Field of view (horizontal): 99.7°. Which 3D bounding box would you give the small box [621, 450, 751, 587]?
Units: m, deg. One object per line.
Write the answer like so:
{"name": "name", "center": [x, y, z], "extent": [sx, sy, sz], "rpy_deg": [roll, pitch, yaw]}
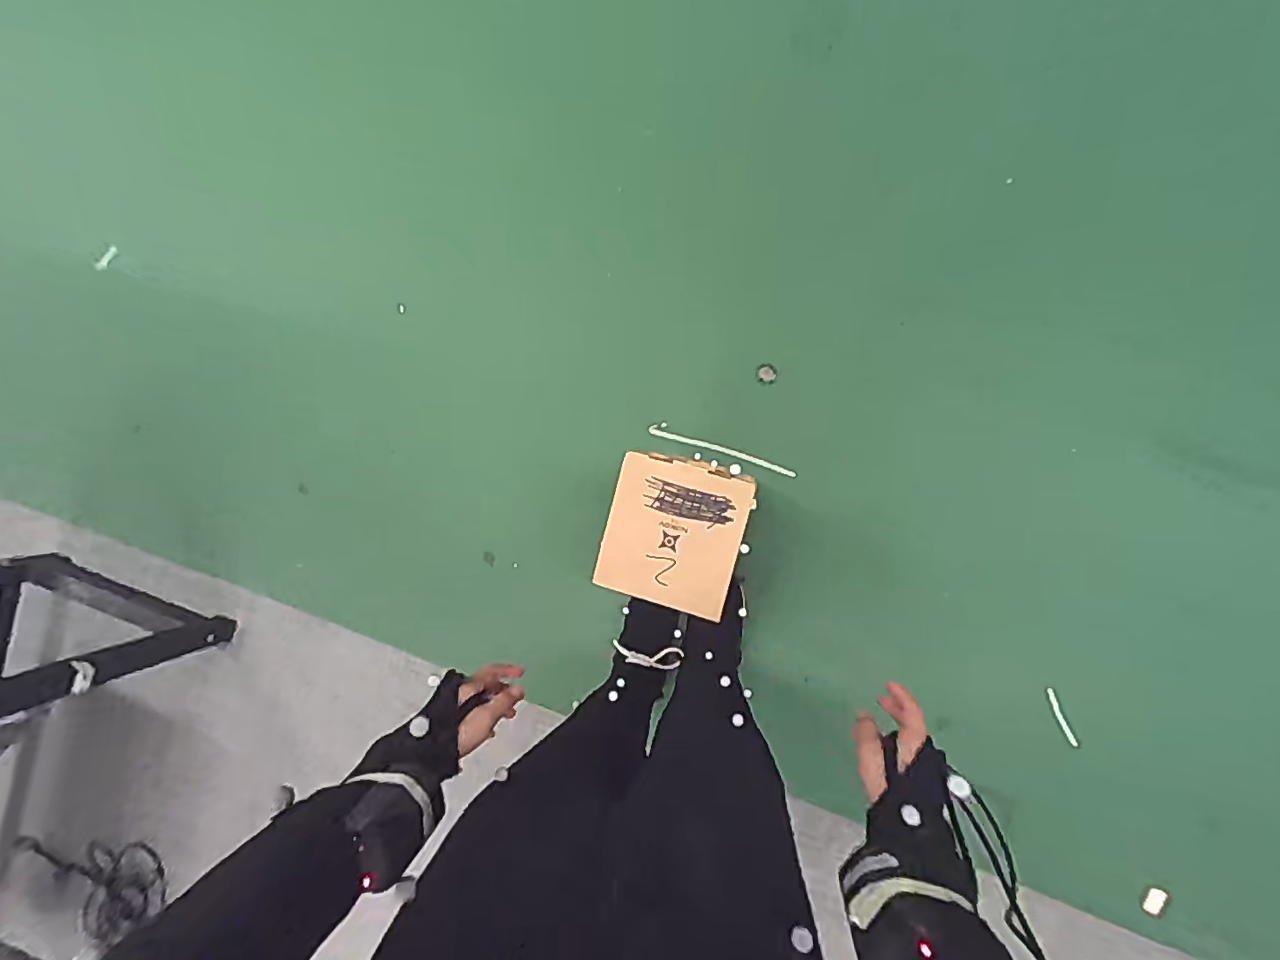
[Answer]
{"name": "small box", "center": [0.083, 0.057, 0.901], "extent": [0.168, 0.176, 0.179], "rpy_deg": [15, 93, 9]}

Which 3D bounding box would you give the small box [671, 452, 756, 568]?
{"name": "small box", "center": [0.120, 0.052, 1.059], "extent": [0.168, 0.176, 0.179], "rpy_deg": [16, 95, 10]}
